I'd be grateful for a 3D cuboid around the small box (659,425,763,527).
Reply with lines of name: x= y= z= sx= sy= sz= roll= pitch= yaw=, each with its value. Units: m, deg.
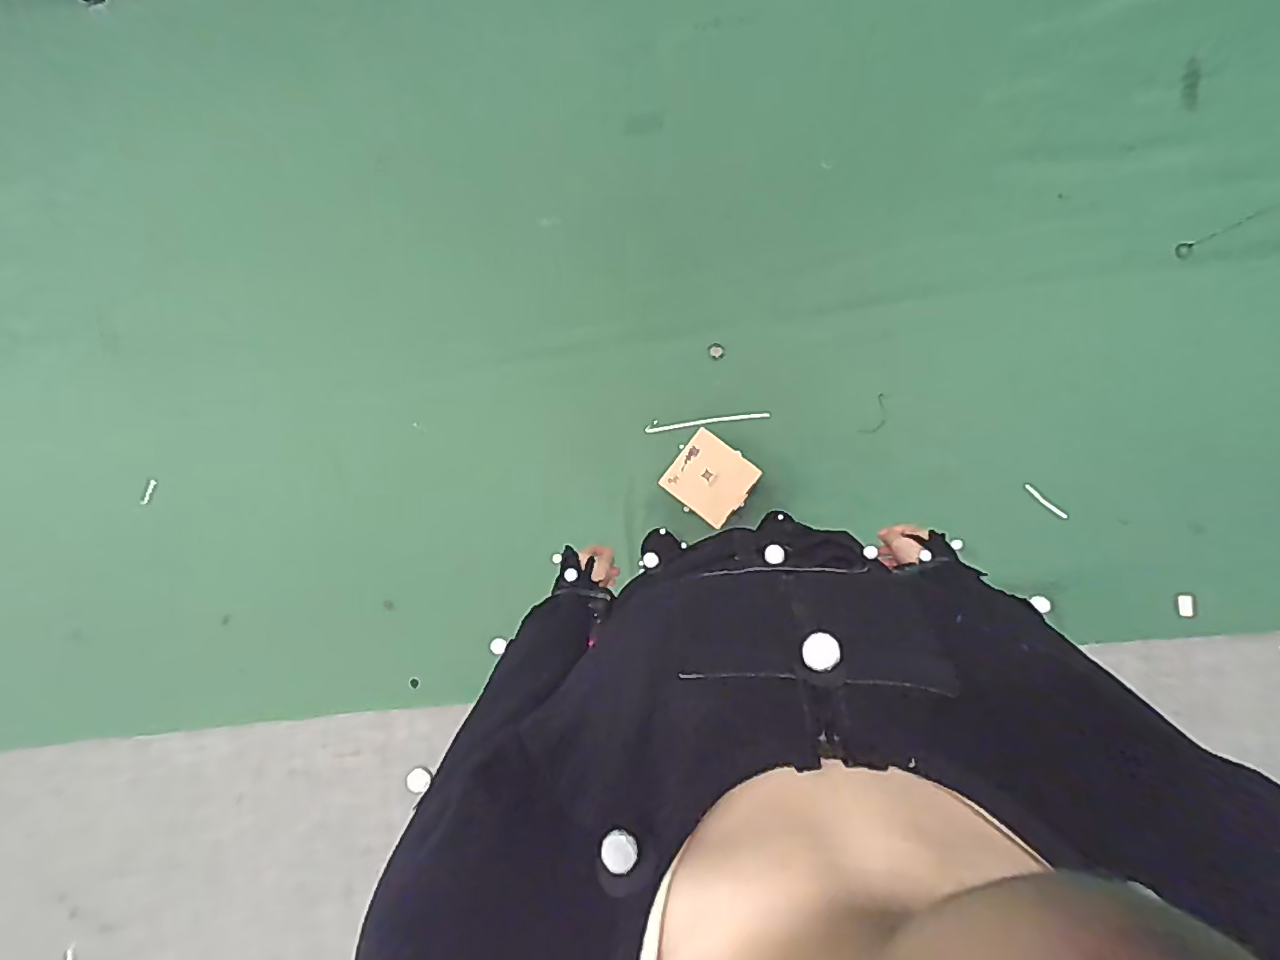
small box: x=0.166 y=-0.009 z=1.283 sx=0.179 sy=0.176 sz=0.168 roll=38 pitch=92 yaw=6
